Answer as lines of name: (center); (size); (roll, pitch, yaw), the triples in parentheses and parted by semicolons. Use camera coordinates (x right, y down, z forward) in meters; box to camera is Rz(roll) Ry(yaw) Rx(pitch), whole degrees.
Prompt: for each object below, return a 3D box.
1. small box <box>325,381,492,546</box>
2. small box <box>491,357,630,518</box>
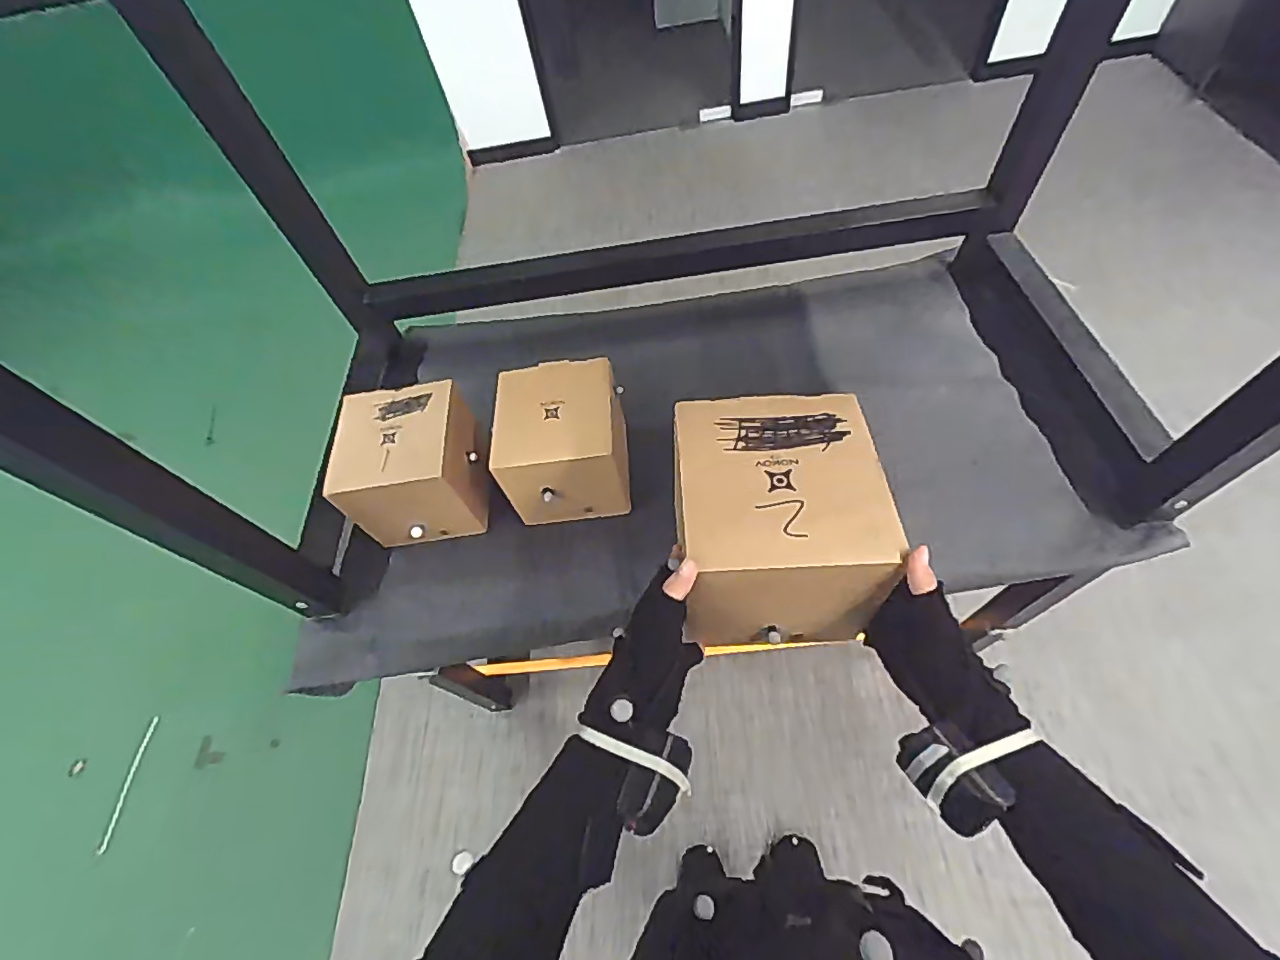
small box: (-0.334, -0.021, 0.822); (0.168, 0.176, 0.179); (-9, 57, 3)
small box: (-0.109, -0.054, 0.810); (0.168, 0.176, 0.179); (-7, 57, 4)
